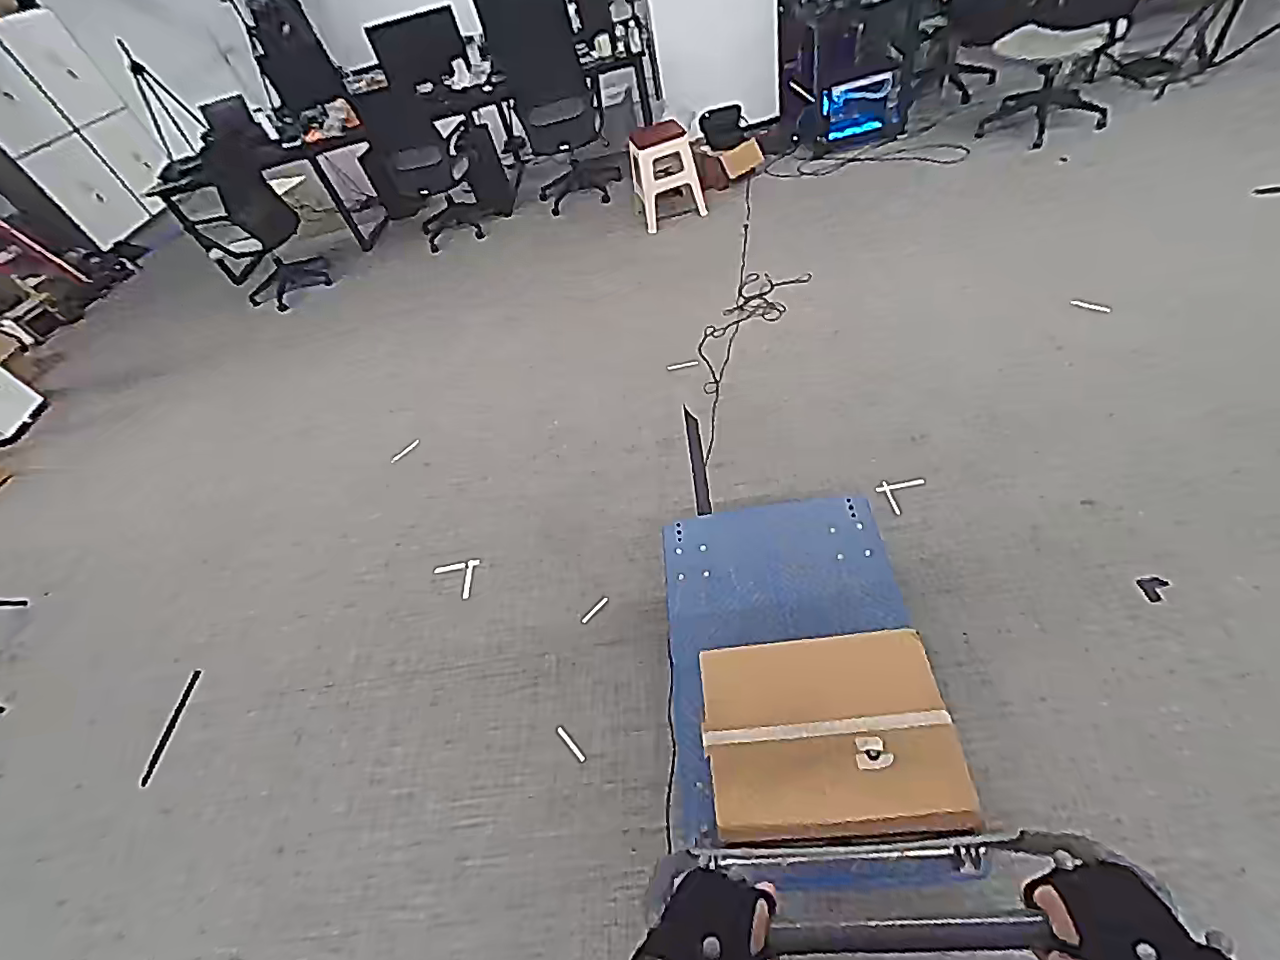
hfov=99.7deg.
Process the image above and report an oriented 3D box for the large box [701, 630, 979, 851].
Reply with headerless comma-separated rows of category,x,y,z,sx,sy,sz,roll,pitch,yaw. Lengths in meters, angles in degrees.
large box,0.350,0.521,1.058,0.408,0.320,0.320,-9,54,8
